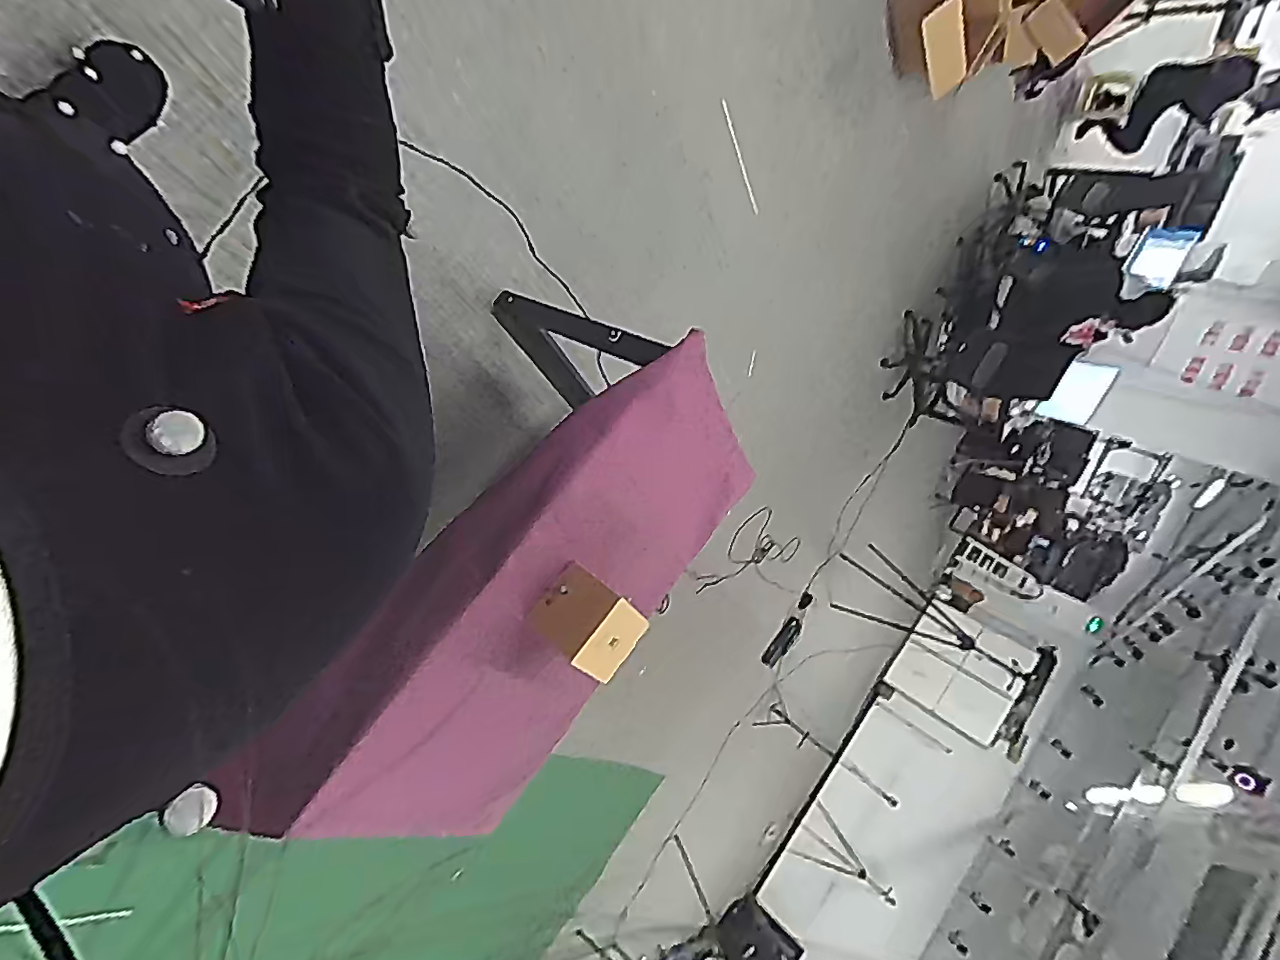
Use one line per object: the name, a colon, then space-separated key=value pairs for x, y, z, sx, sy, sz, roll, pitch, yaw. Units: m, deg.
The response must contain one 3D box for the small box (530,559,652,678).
small box: x=-0.107 y=0.302 z=1.198 sx=0.168 sy=0.176 sz=0.179 roll=-50 pitch=141 yaw=-14
